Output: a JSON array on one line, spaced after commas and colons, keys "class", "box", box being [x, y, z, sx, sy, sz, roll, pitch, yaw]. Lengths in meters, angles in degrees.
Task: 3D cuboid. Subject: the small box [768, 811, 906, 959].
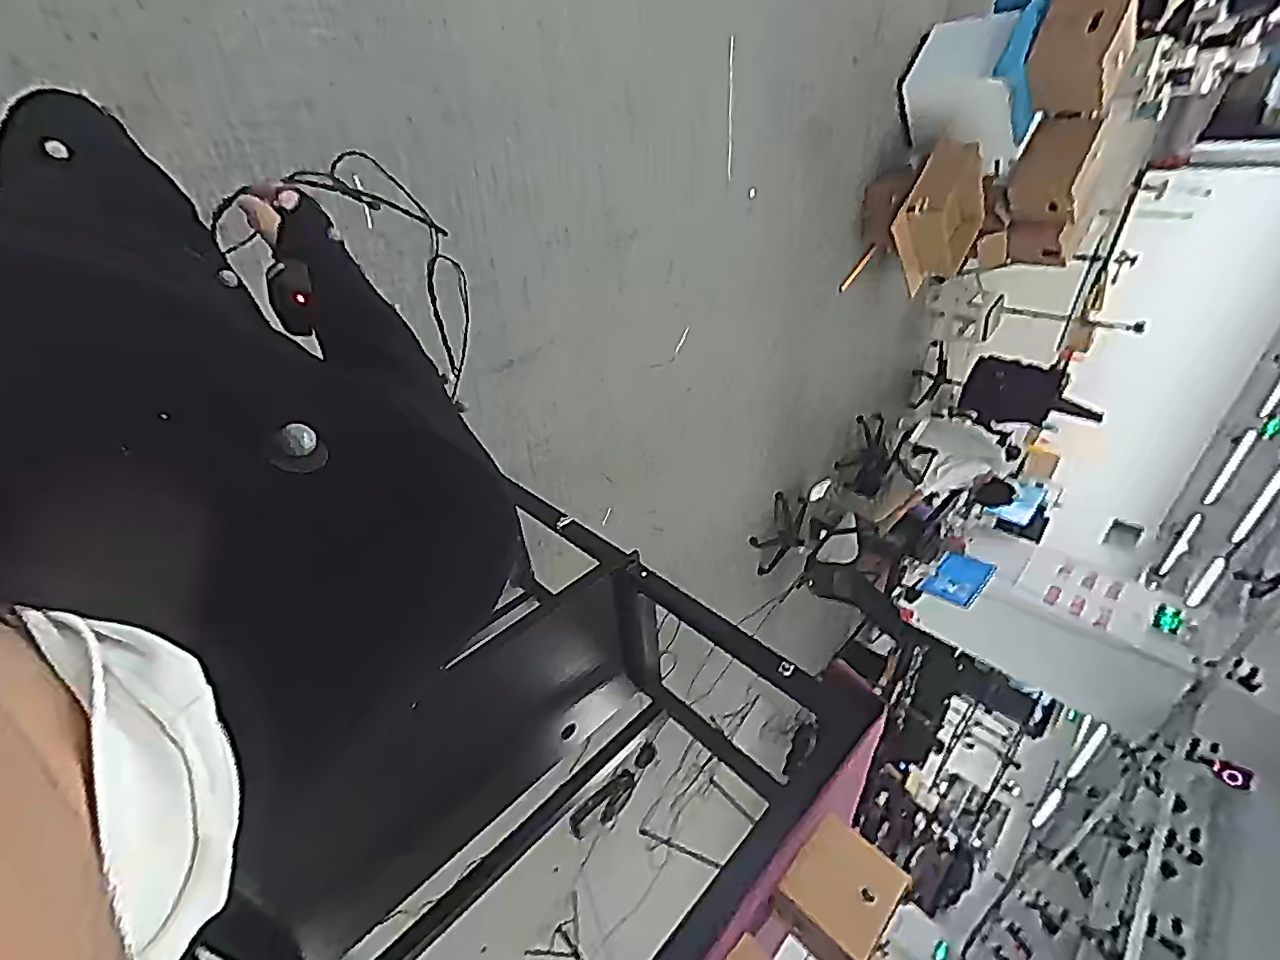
[{"class": "small box", "box": [0.362, 0.770, 1.009, 0.179, 0.176, 0.168, -33, 133, -32]}]
